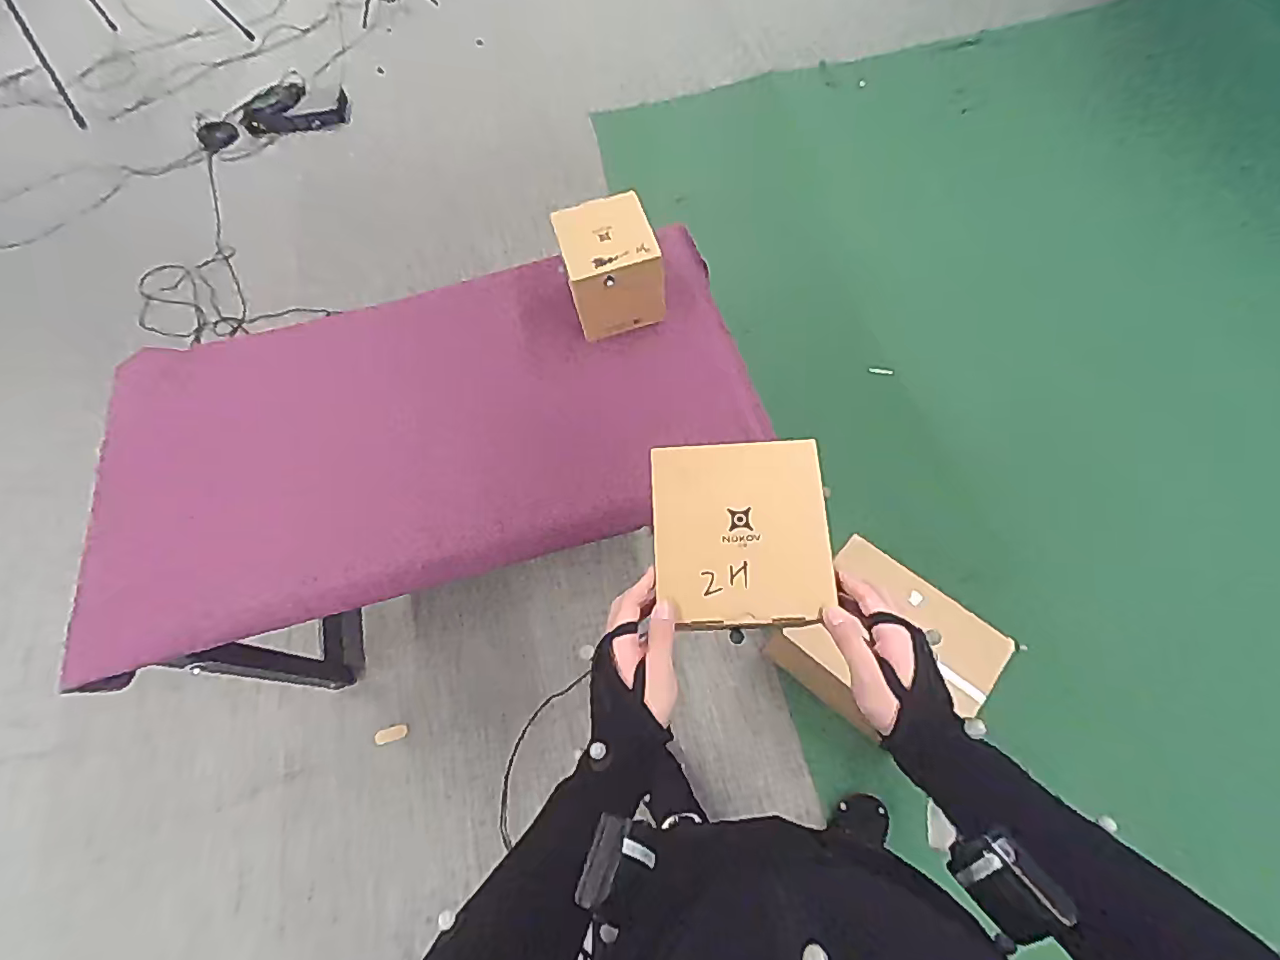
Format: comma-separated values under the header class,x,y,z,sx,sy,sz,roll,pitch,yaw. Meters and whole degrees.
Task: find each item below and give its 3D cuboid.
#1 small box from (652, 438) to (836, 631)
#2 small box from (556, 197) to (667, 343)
class,x,y,z,sx,sy,sz,roll,pitch,yaw
small box,0.100,0.068,0.590,0.168,0.176,0.179,-3,72,5
small box,-0.051,-0.397,1.039,0.168,0.176,0.179,-17,65,-2
